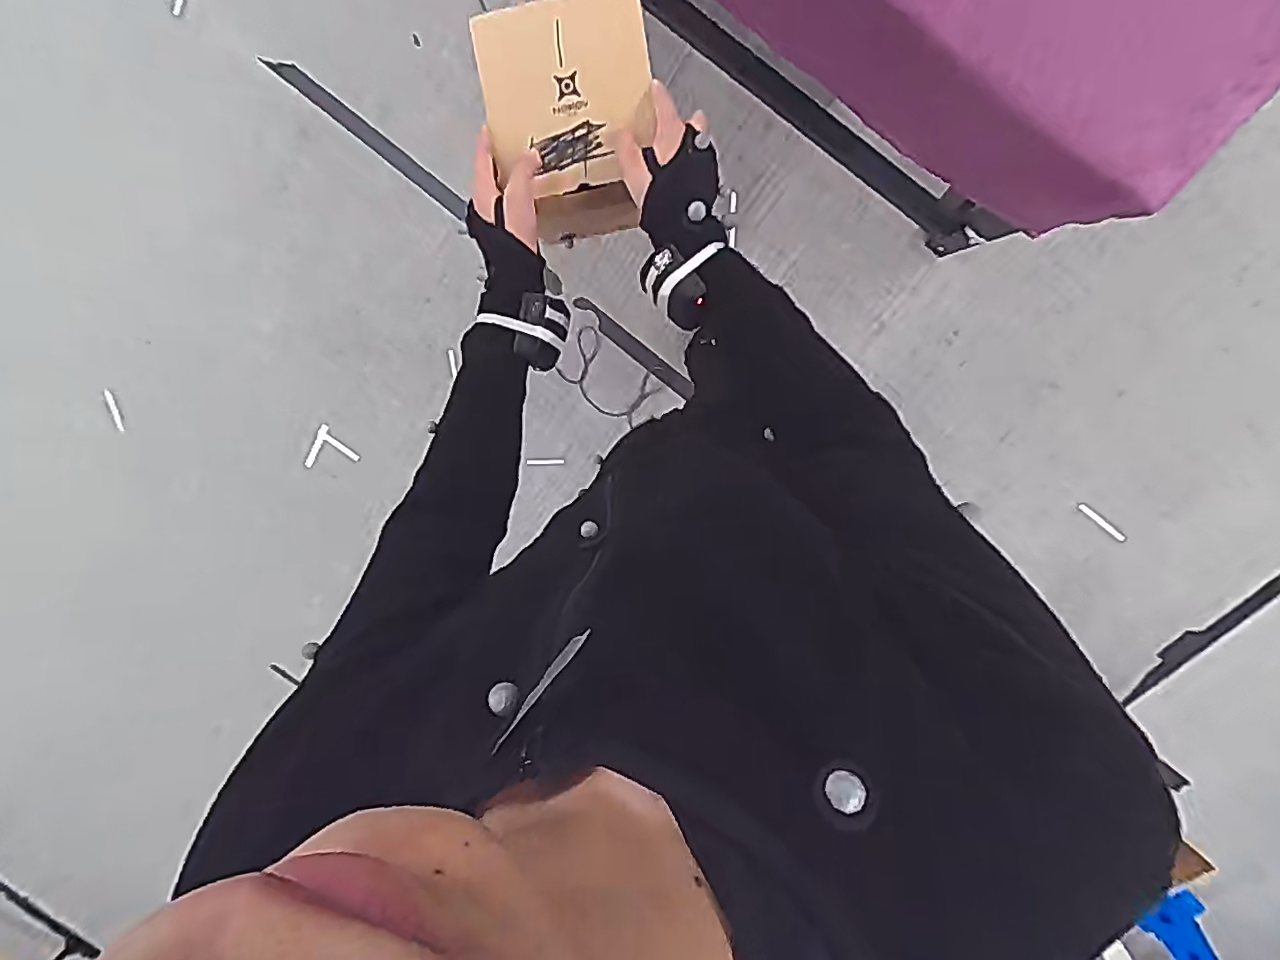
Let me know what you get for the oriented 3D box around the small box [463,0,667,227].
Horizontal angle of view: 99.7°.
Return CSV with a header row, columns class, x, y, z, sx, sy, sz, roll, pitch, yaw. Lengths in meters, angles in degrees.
class,x,y,z,sx,sy,sz,roll,pitch,yaw
small box,-0.065,-0.393,0.592,0.168,0.176,0.179,-9,101,7
